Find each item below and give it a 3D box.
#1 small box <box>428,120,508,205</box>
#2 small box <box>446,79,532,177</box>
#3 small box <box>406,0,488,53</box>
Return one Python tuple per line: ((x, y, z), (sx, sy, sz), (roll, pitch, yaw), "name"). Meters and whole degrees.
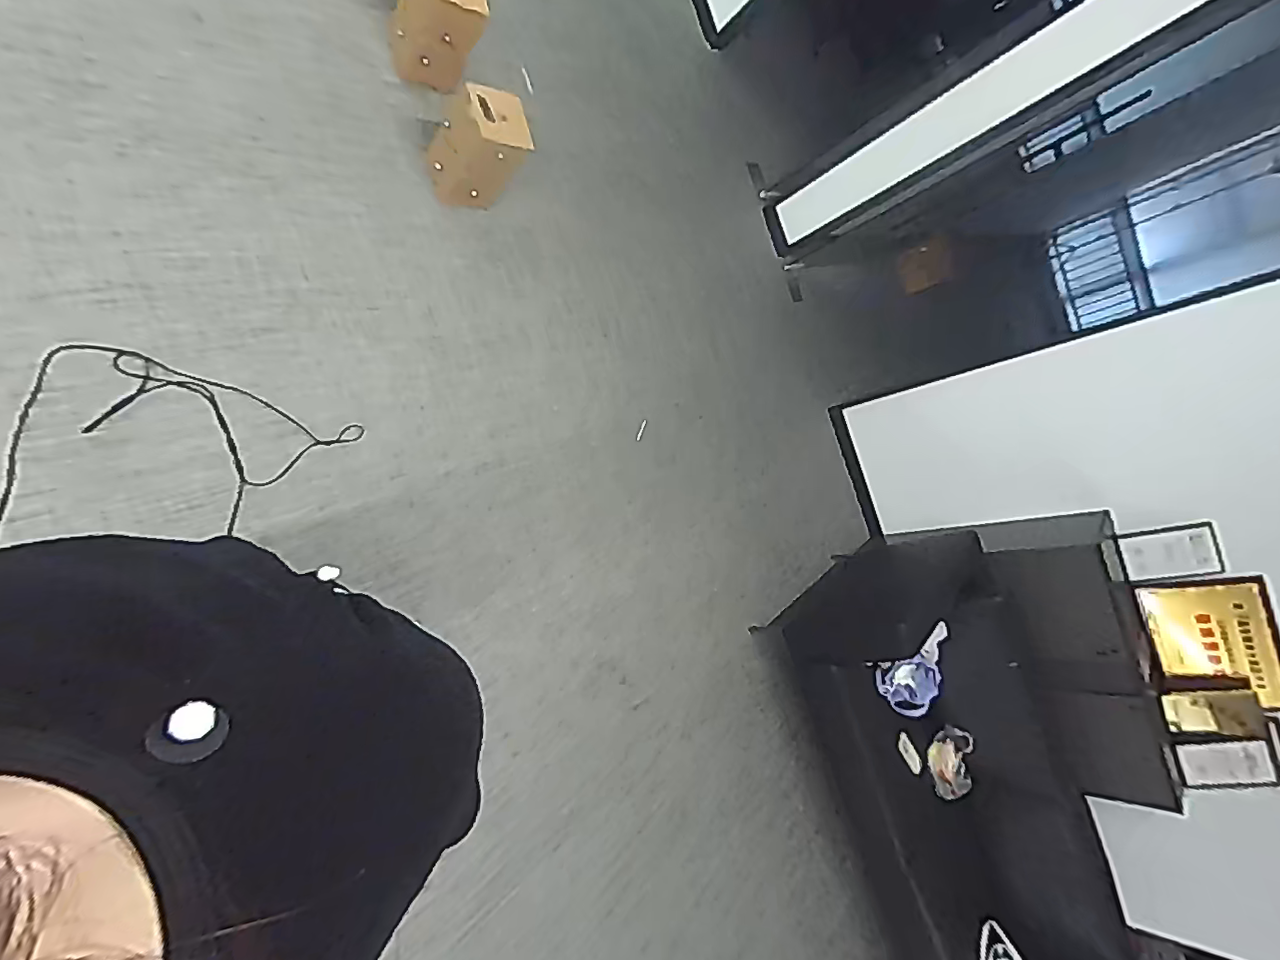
((-0.559, -1.006, 1.732), (0.179, 0.176, 0.168), (-20, 94, -42), "small box")
((-0.455, -1.035, 1.607), (0.179, 0.176, 0.168), (-18, 93, -43), "small box")
((-0.579, -1.421, 1.589), (0.168, 0.176, 0.179), (-18, 93, -43), "small box")
